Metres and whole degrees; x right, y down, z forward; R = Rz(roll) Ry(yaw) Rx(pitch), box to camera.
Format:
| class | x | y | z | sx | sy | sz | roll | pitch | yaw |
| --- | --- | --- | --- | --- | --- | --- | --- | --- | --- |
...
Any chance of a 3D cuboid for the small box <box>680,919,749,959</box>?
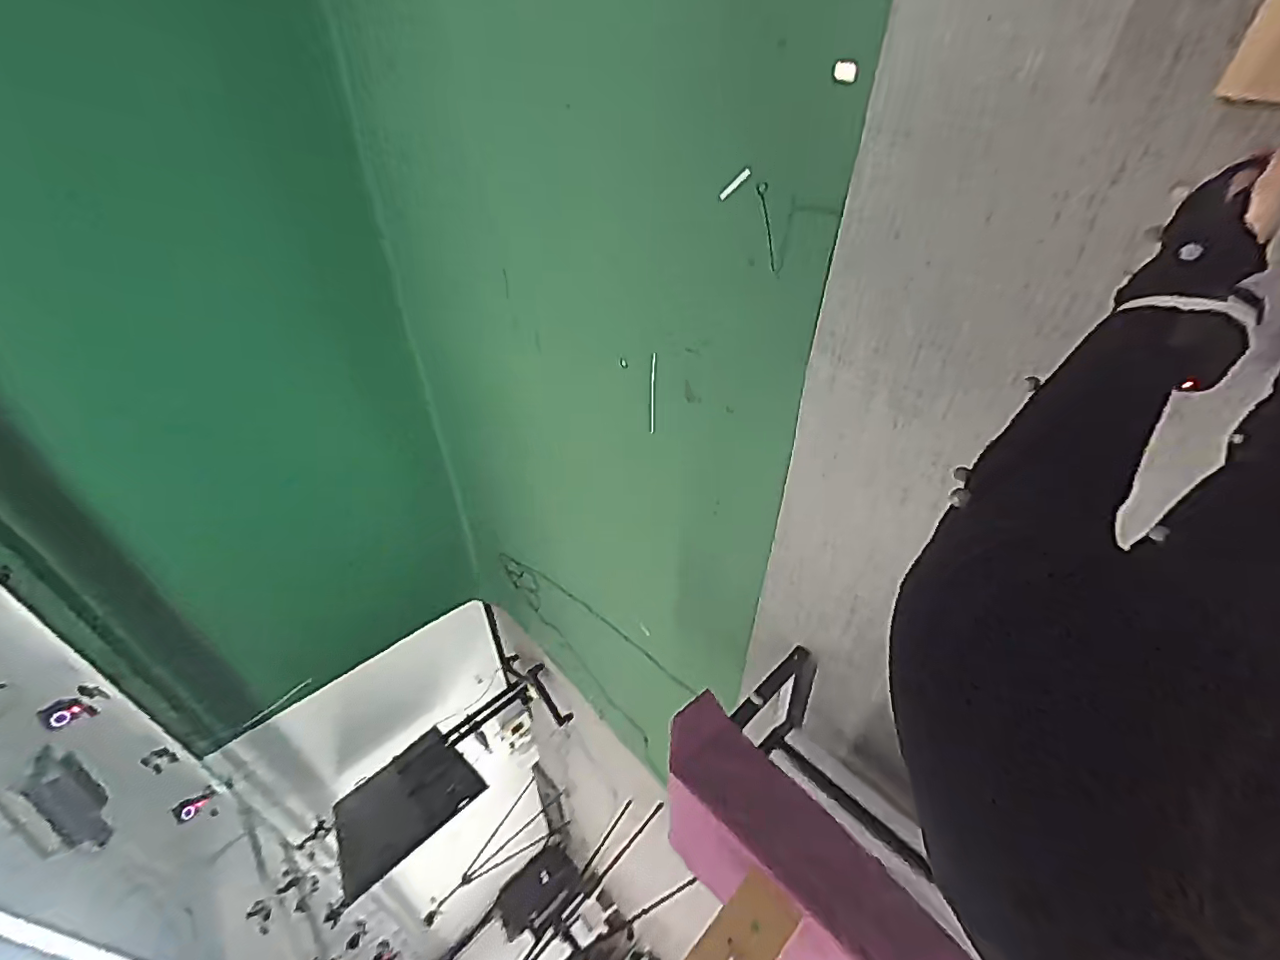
| class | x | y | z | sx | sy | sz | roll | pitch | yaw |
| --- | --- | --- | --- | --- | --- | --- | --- | --- | --- |
| small box | 0.203 | 1.340 | 1.447 | 0.168 | 0.176 | 0.179 | 31 | 136 | 38 |

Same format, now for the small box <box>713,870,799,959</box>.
| class | x | y | z | sx | sy | sz | roll | pitch | yaw |
| --- | --- | --- | --- | --- | --- | --- | --- | --- | --- |
| small box | 0.323 | 1.265 | 1.530 | 0.179 | 0.176 | 0.168 | 33 | 138 | 36 |
